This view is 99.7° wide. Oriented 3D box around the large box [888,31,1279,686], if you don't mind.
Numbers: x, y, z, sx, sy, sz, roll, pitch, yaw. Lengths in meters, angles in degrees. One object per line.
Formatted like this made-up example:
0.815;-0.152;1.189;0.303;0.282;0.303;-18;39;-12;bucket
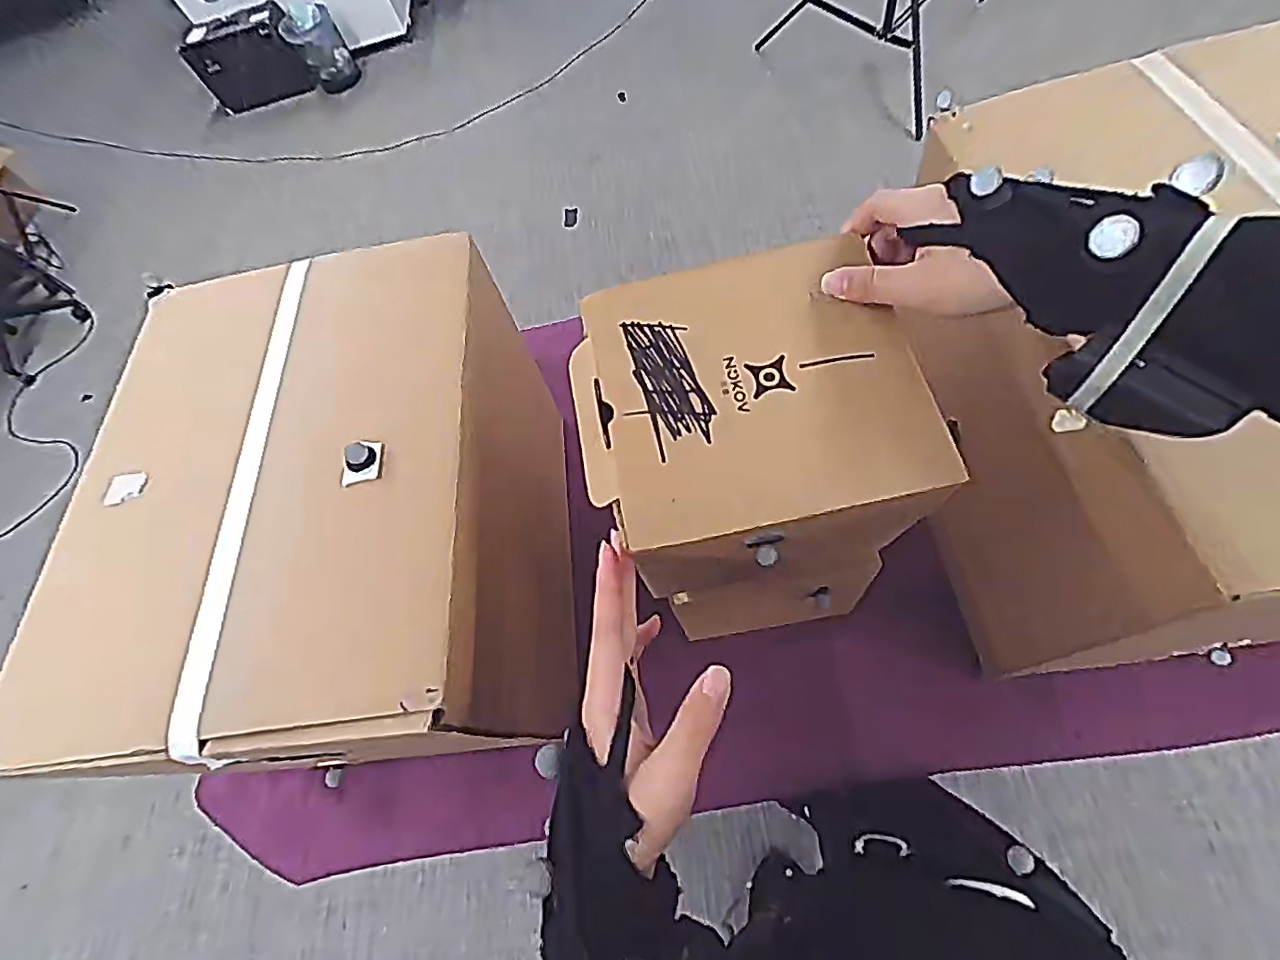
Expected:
0.429;-0.075;0.456;0.320;0.320;0.408;-10;61;6;large box

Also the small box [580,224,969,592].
0.070;-0.030;0.363;0.179;0.176;0.168;-11;68;2;small box
